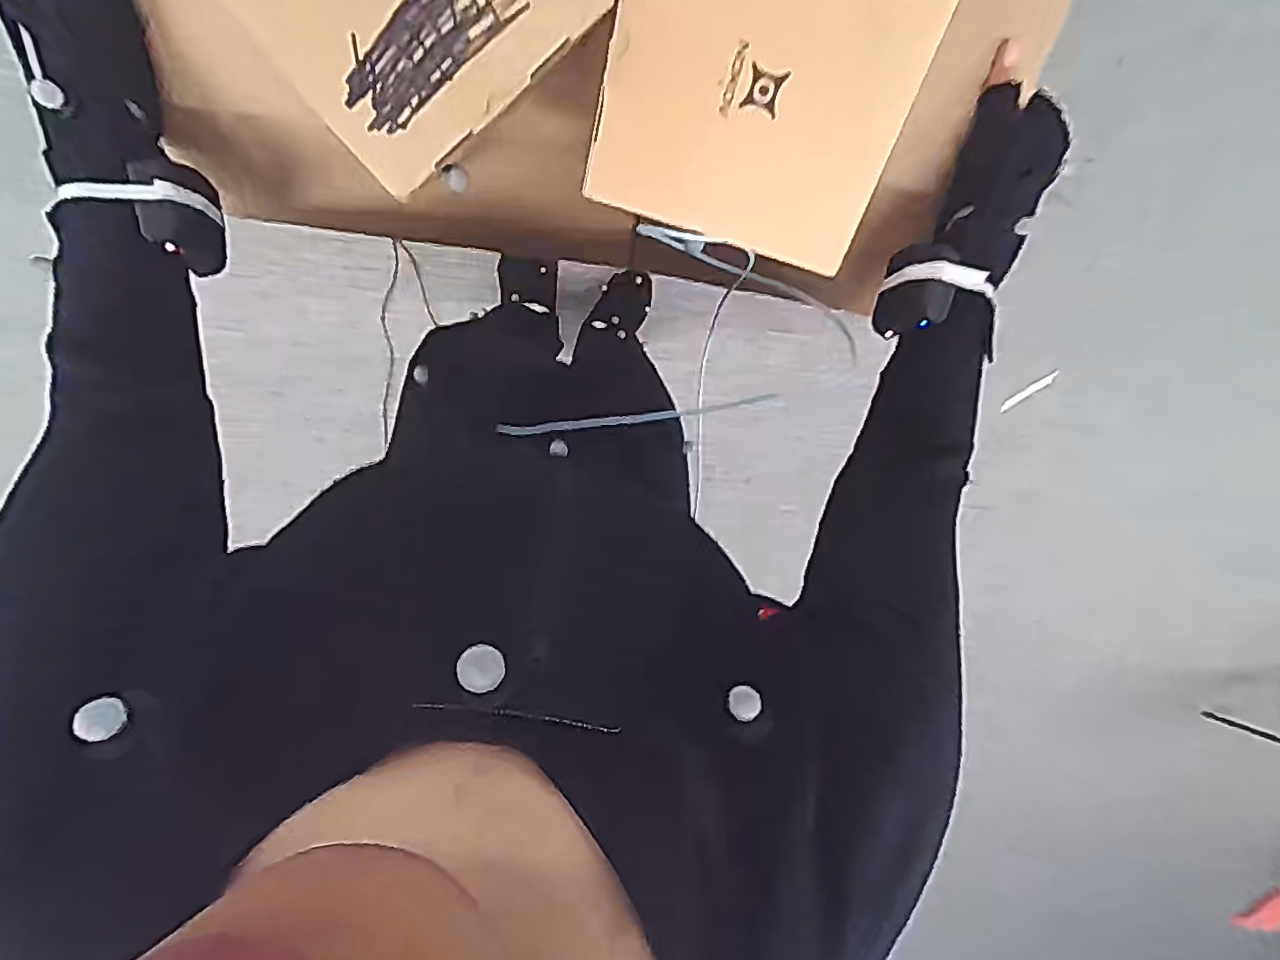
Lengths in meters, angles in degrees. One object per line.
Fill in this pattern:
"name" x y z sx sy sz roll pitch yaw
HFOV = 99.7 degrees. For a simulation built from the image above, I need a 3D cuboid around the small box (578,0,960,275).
"small box" 0.076 -0.265 0.374 0.179 0.176 0.168 19 122 -1
